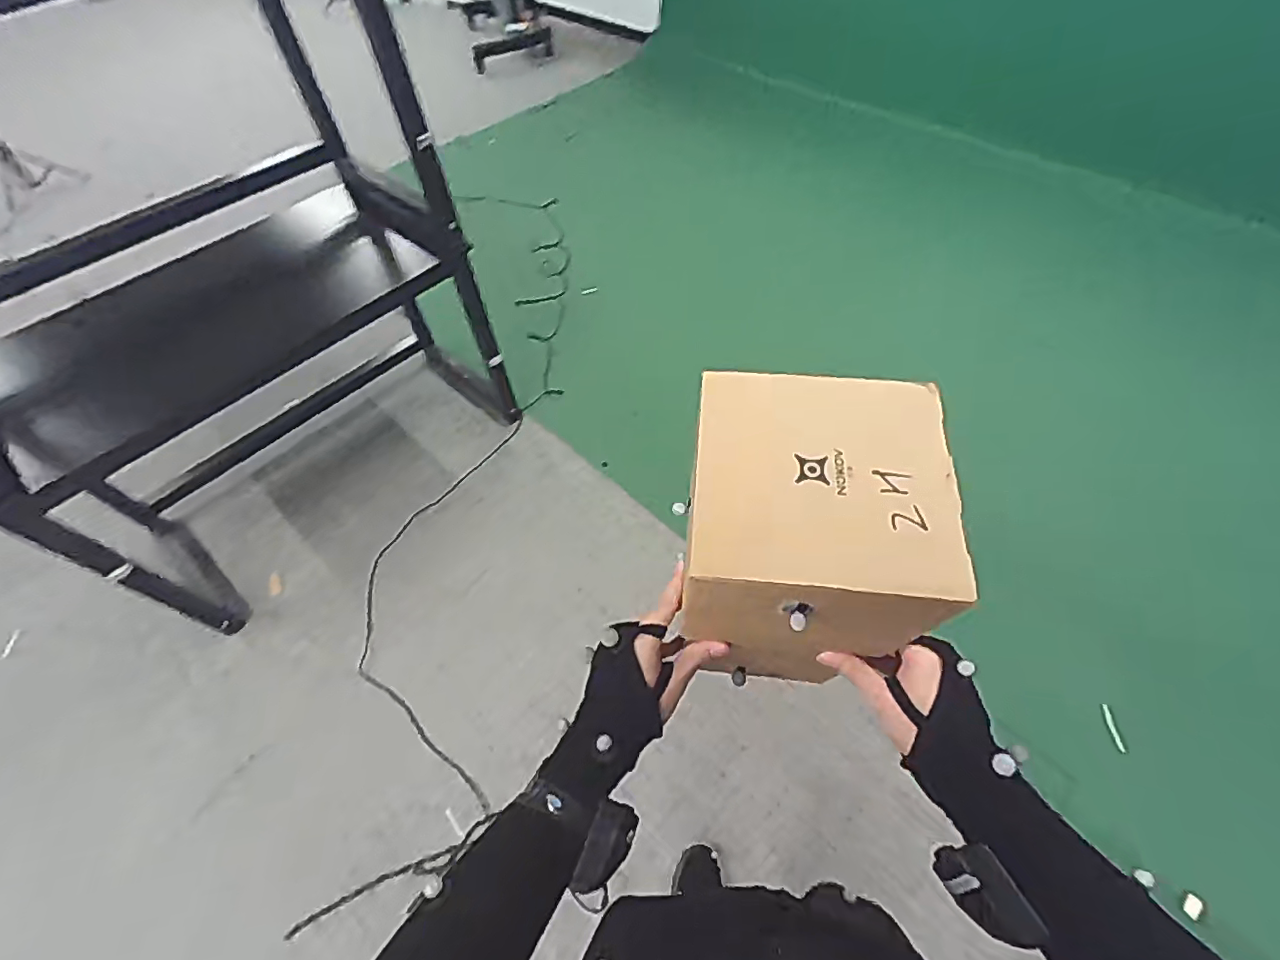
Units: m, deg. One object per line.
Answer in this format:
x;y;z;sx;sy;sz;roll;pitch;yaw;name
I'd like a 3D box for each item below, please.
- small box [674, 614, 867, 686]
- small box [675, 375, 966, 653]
0.126;0.111;0.582;0.168;0.176;0.179;5;62;4;small box
0.121;0.036;0.436;0.179;0.176;0.168;4;62;5;small box
